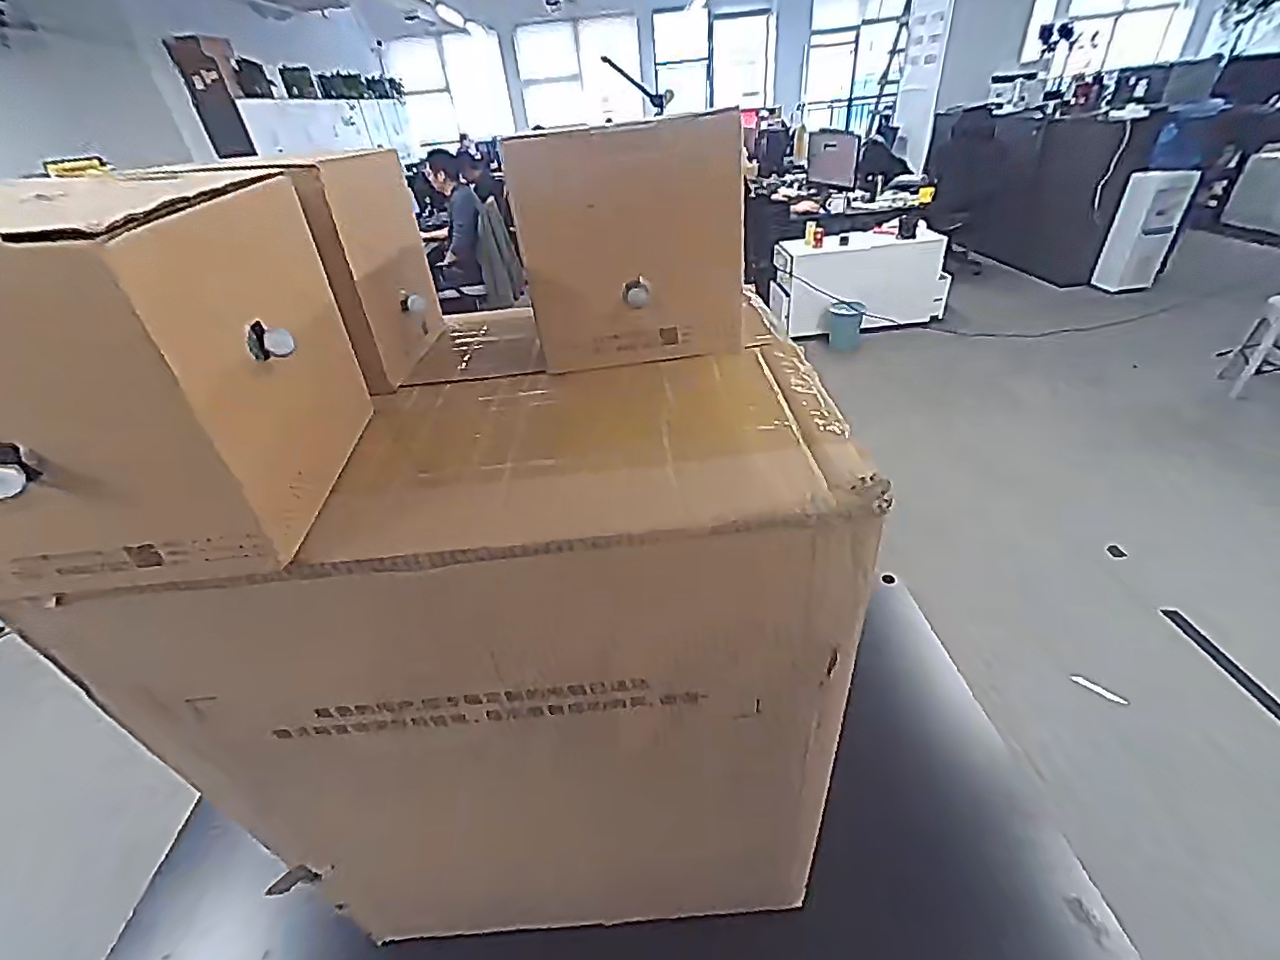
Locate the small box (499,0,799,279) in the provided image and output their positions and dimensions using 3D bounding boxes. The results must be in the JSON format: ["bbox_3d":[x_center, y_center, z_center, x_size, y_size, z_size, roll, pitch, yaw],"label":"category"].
[{"bbox_3d":[0.005,-0.254,0.392,0.168,0.176,0.179,-8,34,0],"label":"small box"}]

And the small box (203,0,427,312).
[{"bbox_3d":[-0.279,-0.218,0.384,0.179,0.176,0.168,-4,35,0],"label":"small box"}]
